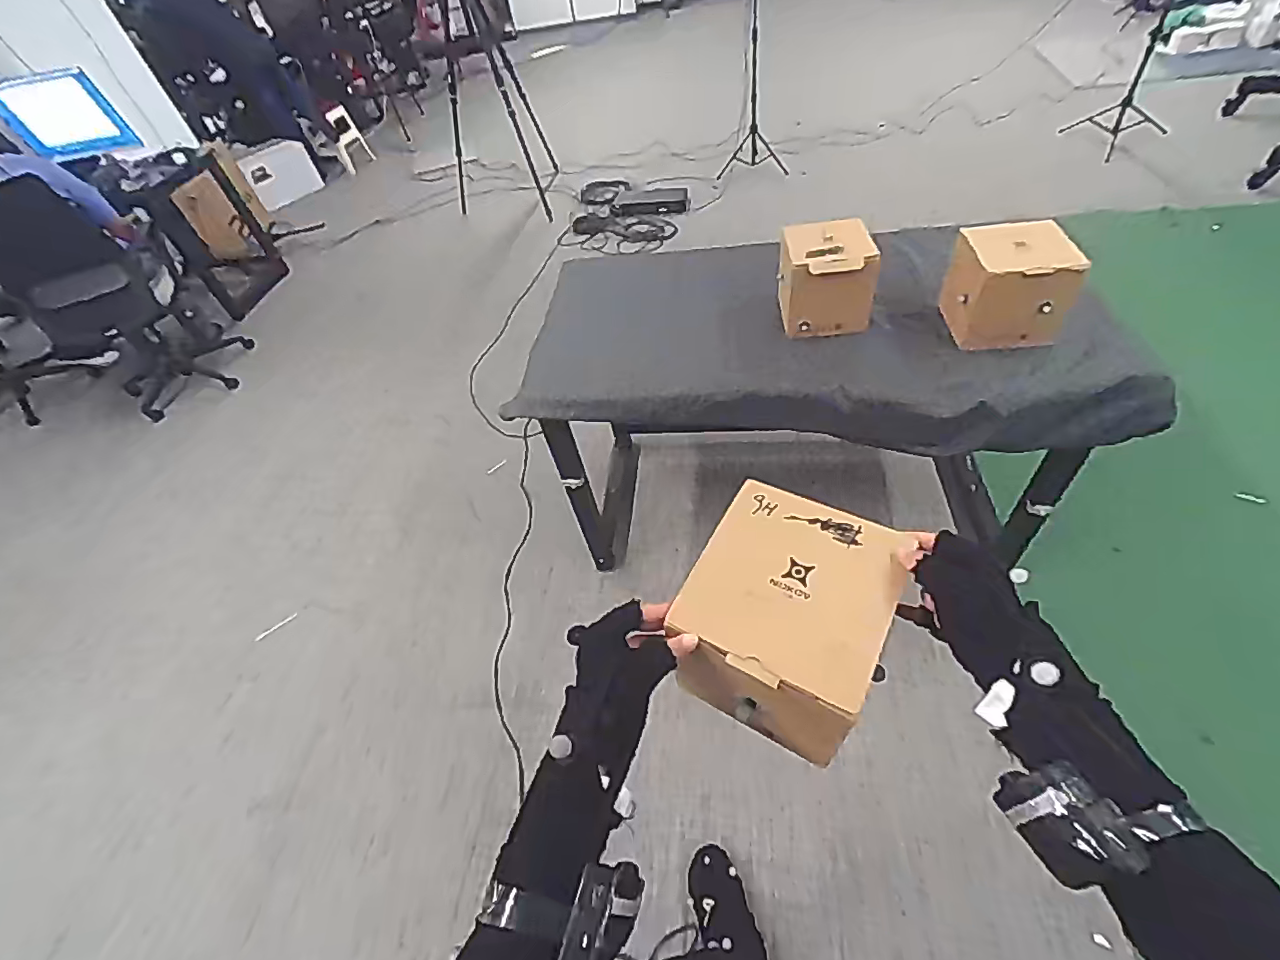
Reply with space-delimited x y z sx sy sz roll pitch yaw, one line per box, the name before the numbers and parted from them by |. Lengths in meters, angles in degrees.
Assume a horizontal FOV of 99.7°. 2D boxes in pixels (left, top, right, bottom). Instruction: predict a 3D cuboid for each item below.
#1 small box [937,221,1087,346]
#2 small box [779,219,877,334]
small box | 0.702 -0.372 1.046 0.168 0.176 0.179 -2 48 9
small box | 0.391 -0.427 1.154 0.168 0.176 0.179 -3 48 8
